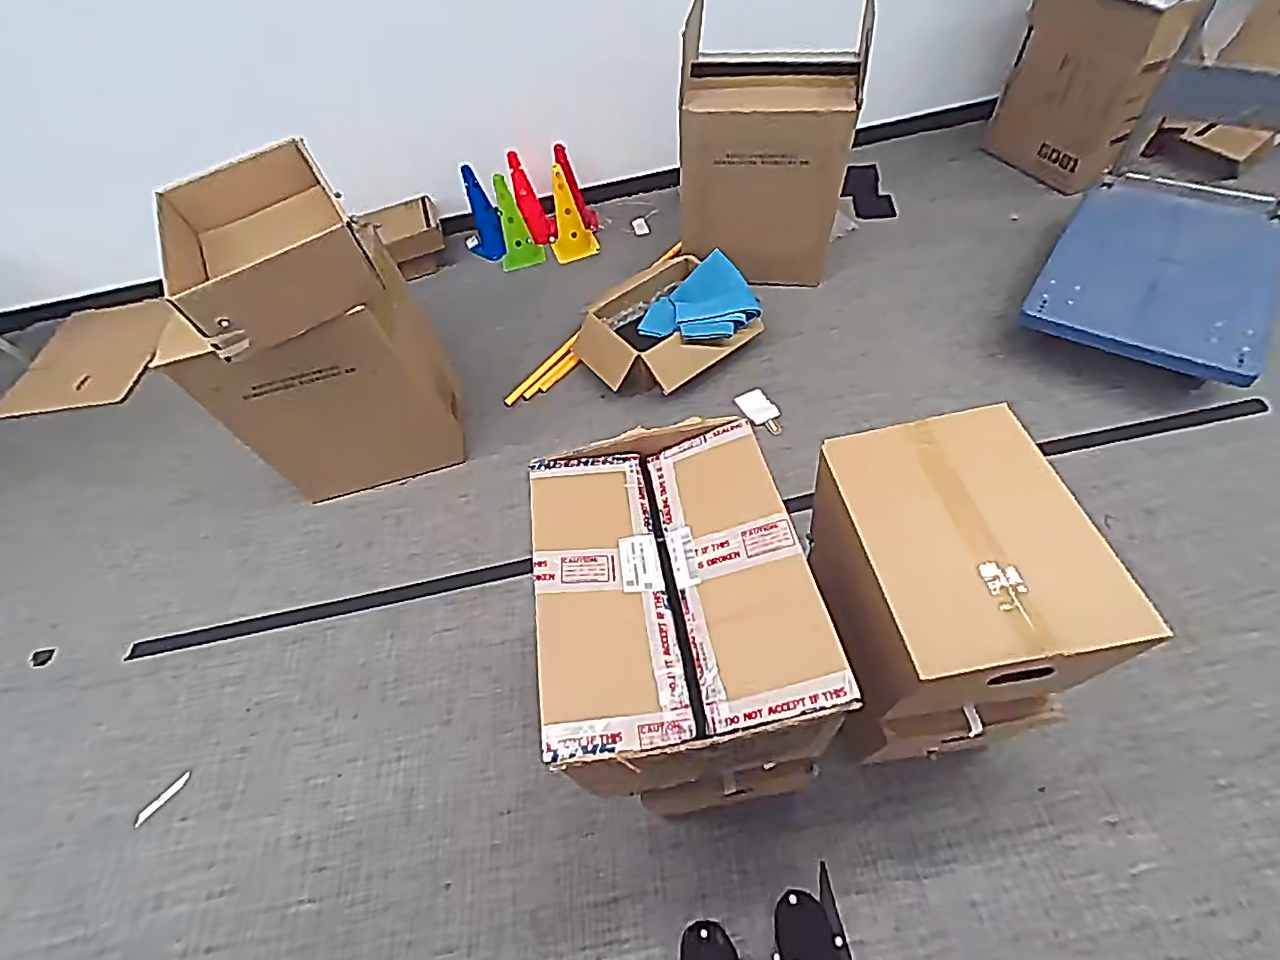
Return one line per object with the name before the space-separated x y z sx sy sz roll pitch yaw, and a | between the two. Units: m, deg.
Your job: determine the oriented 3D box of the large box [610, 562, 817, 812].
large box | 0.137 0.446 1.163 0.320 0.320 0.408 -13 55 0
